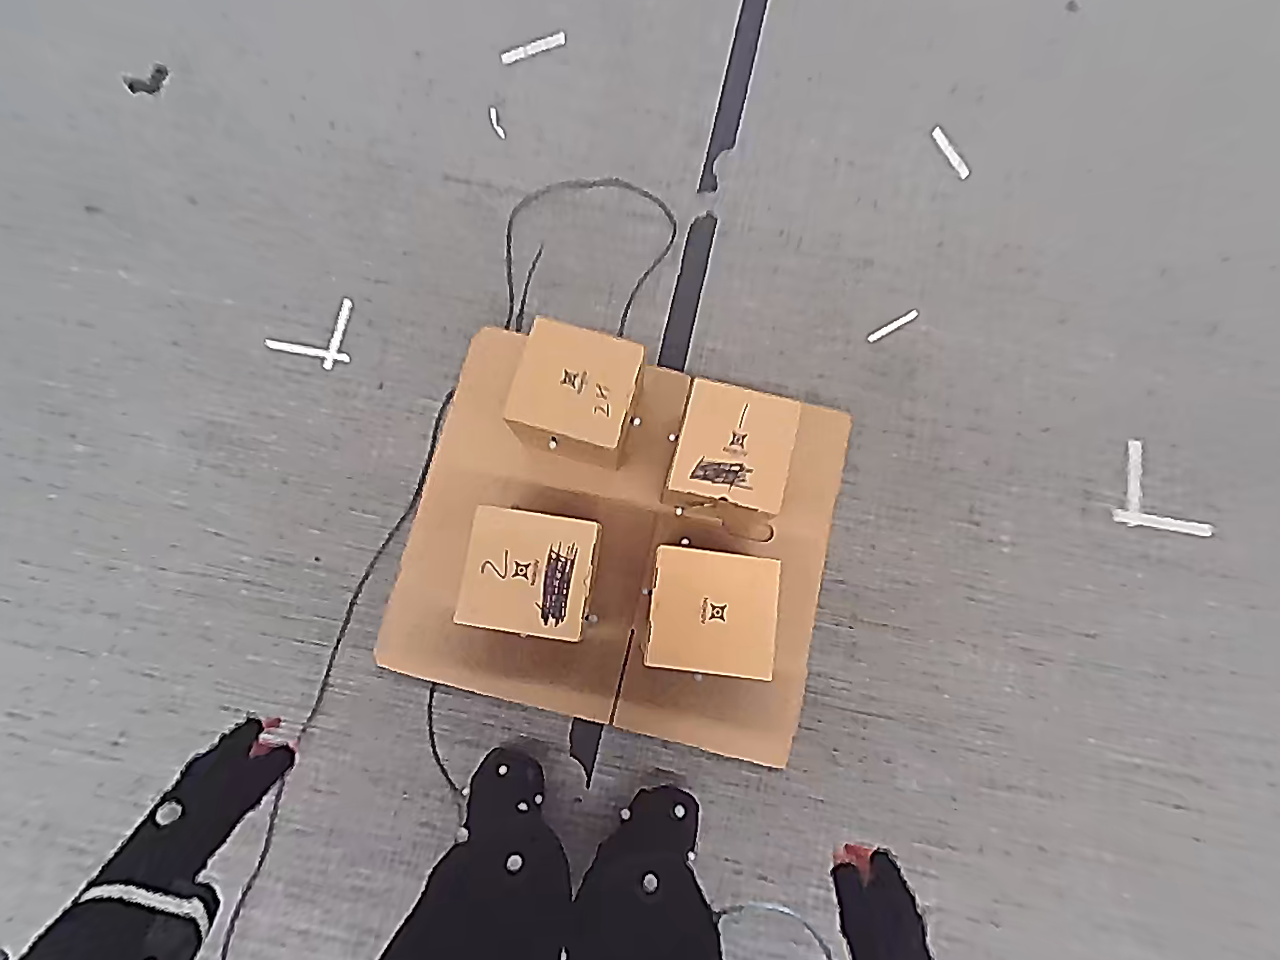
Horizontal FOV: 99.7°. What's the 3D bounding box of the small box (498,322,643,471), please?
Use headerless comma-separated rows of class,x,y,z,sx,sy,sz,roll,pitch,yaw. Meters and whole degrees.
small box,-0.102,-0.123,0.870,0.179,0.176,0.168,17,80,1

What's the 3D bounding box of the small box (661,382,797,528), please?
small box,0.132,-0.029,0.863,0.168,0.176,0.179,15,79,2

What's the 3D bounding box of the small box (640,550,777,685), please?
small box,0.095,0.201,0.822,0.179,0.176,0.168,7,80,2
